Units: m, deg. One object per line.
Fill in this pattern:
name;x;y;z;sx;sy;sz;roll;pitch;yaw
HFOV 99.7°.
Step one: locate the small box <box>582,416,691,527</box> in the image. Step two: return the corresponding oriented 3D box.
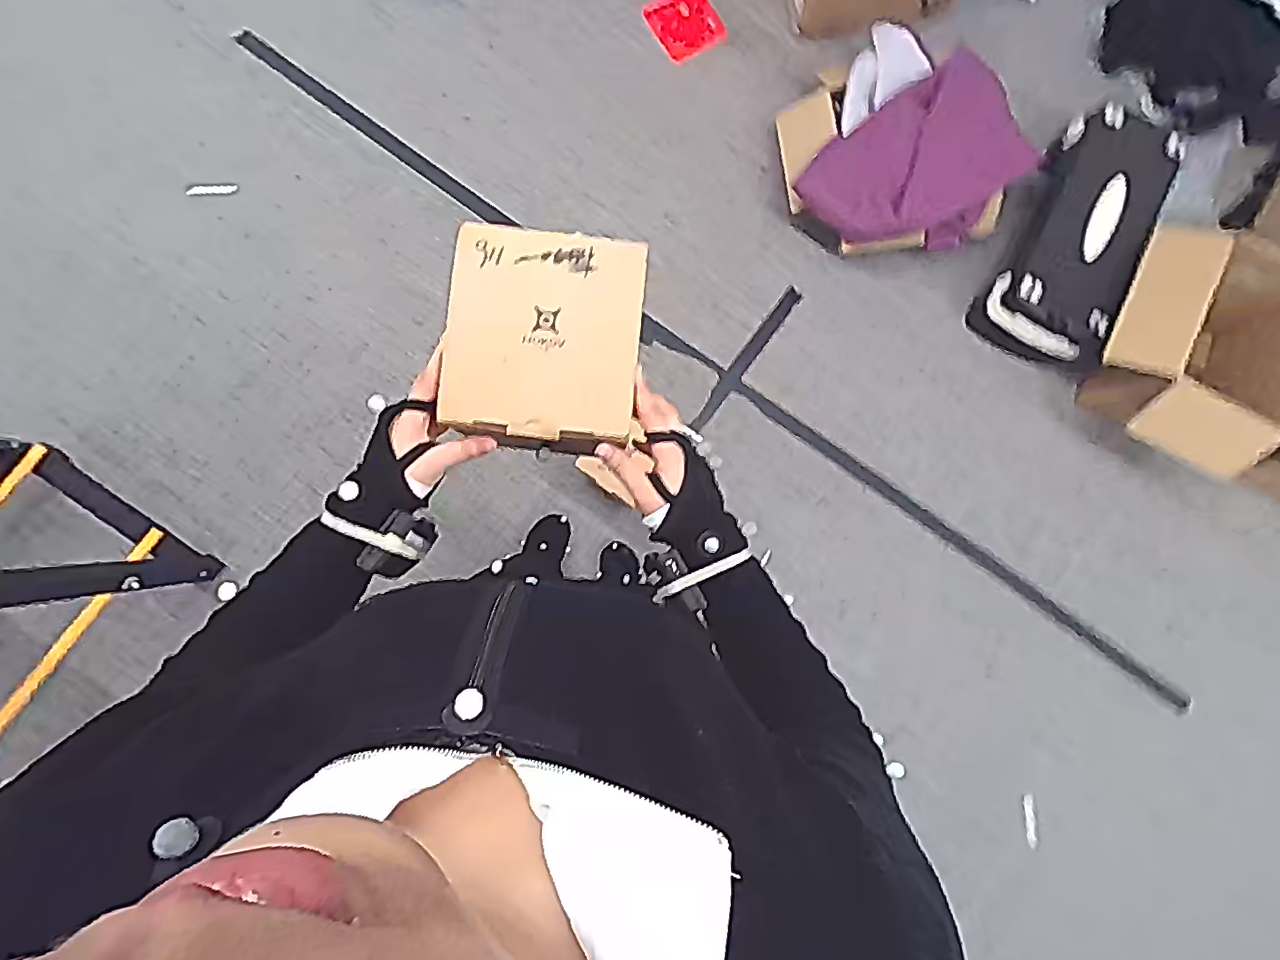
small box;-0.011;-0.013;1.196;0.168;0.176;0.179;36;84;2
